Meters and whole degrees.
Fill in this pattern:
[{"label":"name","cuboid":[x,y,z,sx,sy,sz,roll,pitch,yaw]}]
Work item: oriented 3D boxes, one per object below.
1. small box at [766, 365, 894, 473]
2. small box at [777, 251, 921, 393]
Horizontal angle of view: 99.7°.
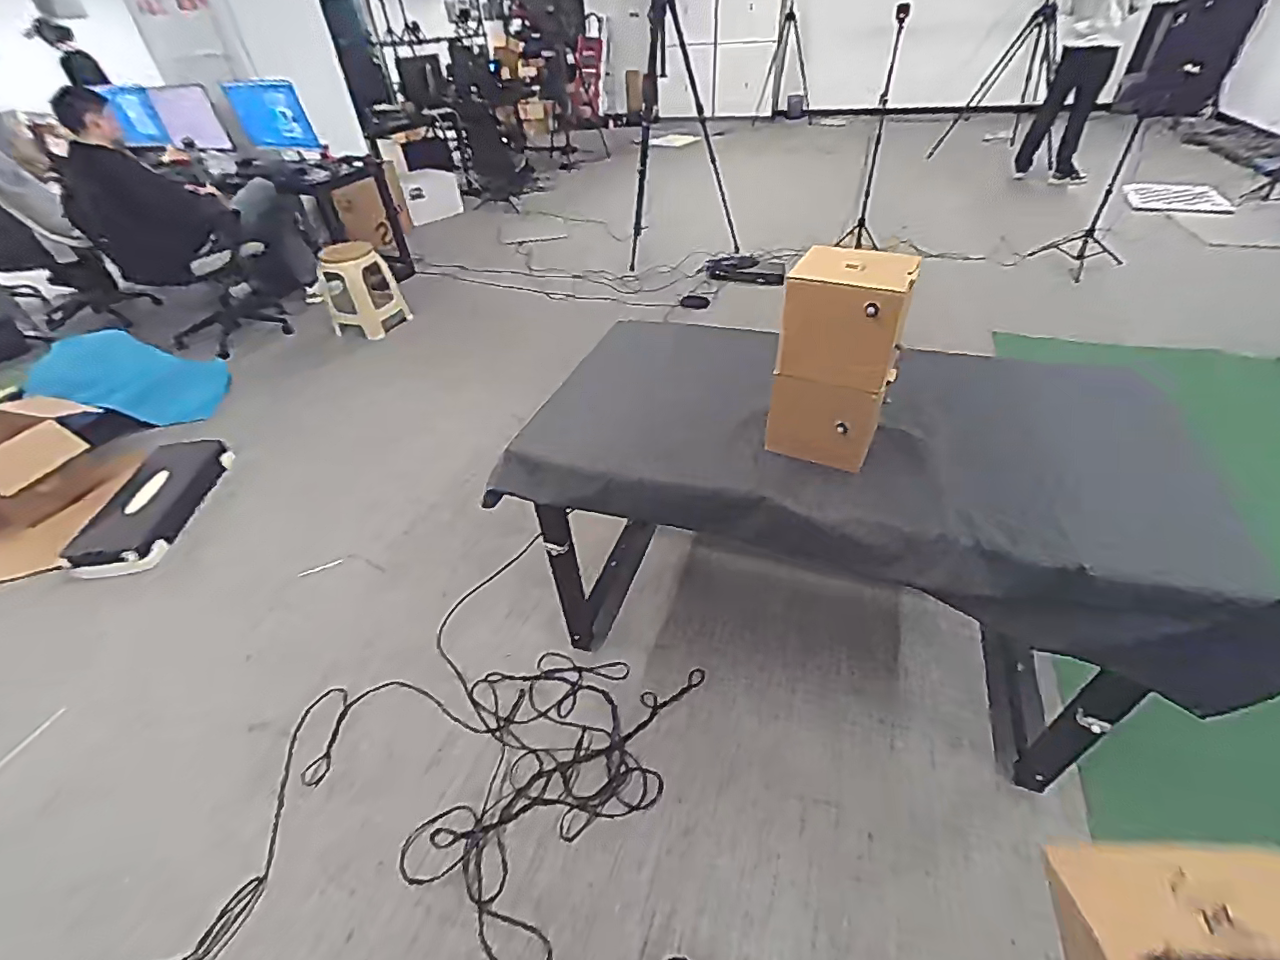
[{"label":"small box","cuboid":[0.345,-0.134,0.994,0.179,0.176,0.168,16,43,24]},{"label":"small box","cuboid":[0.338,-0.262,0.892,0.179,0.176,0.168,17,44,23]}]
